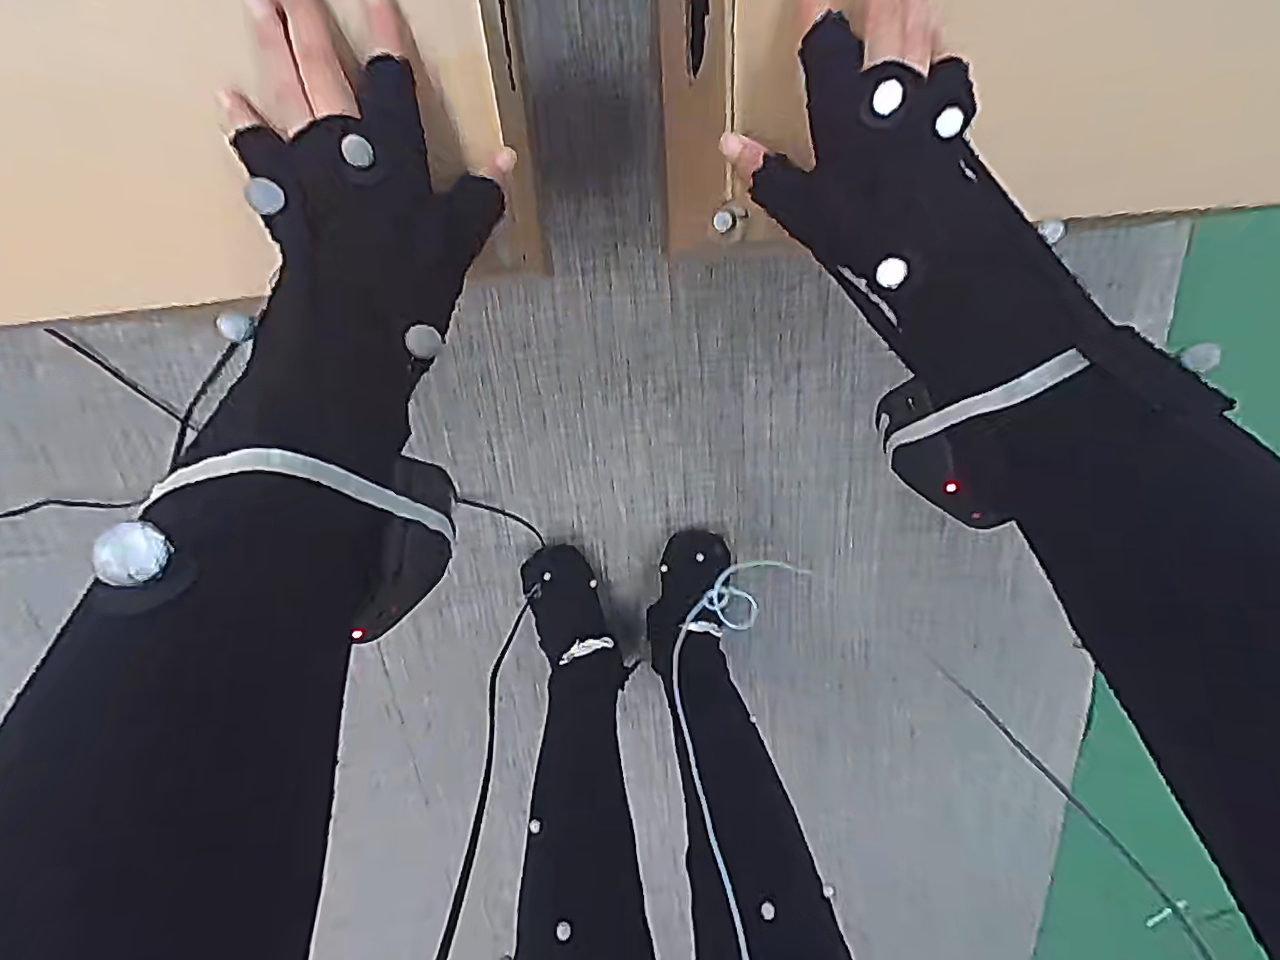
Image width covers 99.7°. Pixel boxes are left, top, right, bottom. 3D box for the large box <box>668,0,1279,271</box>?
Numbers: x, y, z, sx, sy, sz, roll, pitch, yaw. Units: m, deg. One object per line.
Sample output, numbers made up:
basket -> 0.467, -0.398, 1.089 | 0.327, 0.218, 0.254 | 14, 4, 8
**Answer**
large box -> 0.242, -0.355, 0.455 | 0.408, 0.320, 0.320 | -5, 109, -2
